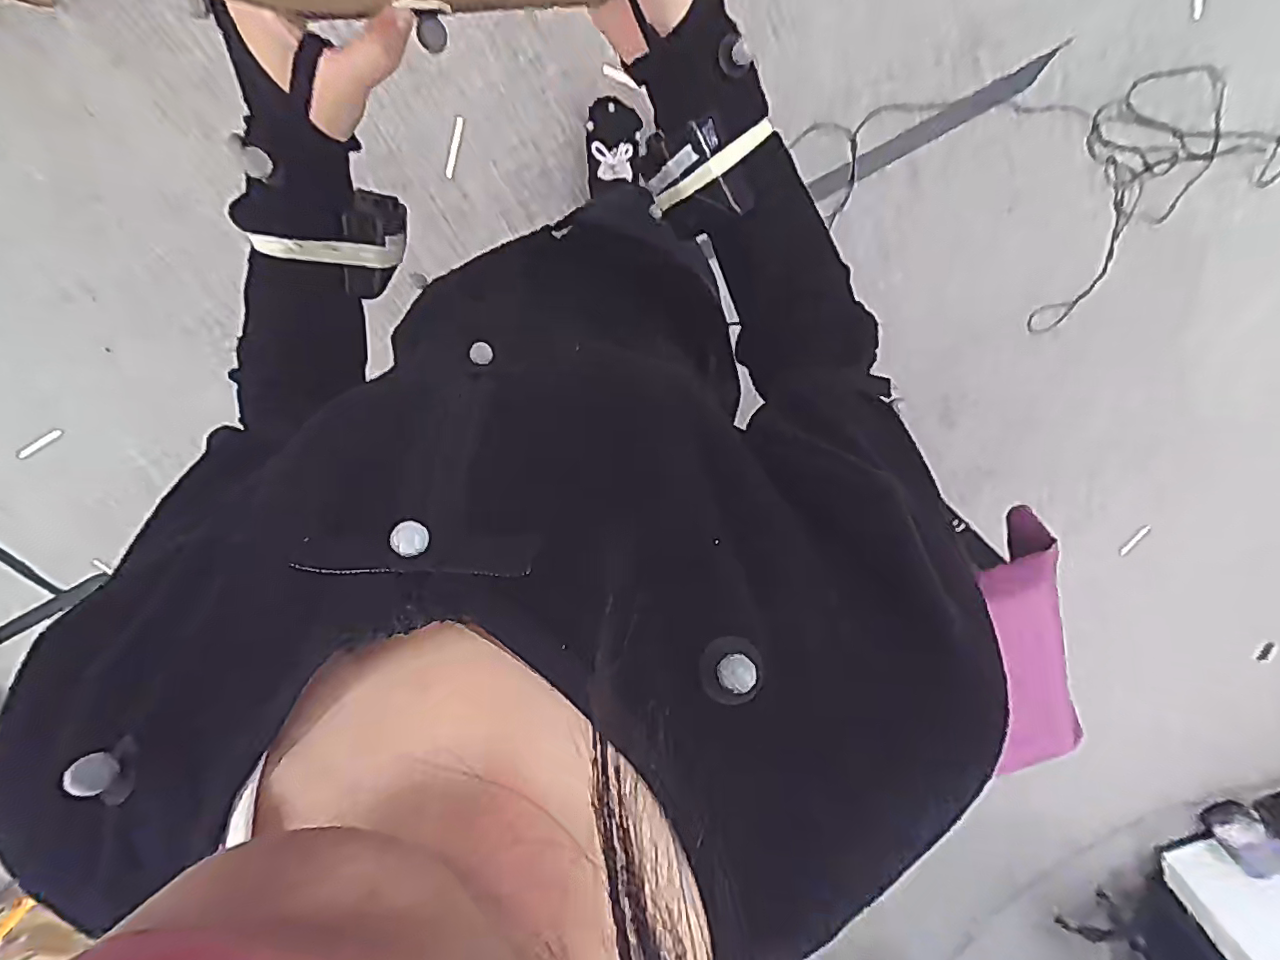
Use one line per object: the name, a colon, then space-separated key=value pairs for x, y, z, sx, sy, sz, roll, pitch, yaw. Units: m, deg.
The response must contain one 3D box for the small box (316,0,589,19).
small box: x=-0.094 y=-0.295 z=0.196 sx=0.168 sy=0.176 sz=0.179 roll=-5 pitch=126 yaw=-1
